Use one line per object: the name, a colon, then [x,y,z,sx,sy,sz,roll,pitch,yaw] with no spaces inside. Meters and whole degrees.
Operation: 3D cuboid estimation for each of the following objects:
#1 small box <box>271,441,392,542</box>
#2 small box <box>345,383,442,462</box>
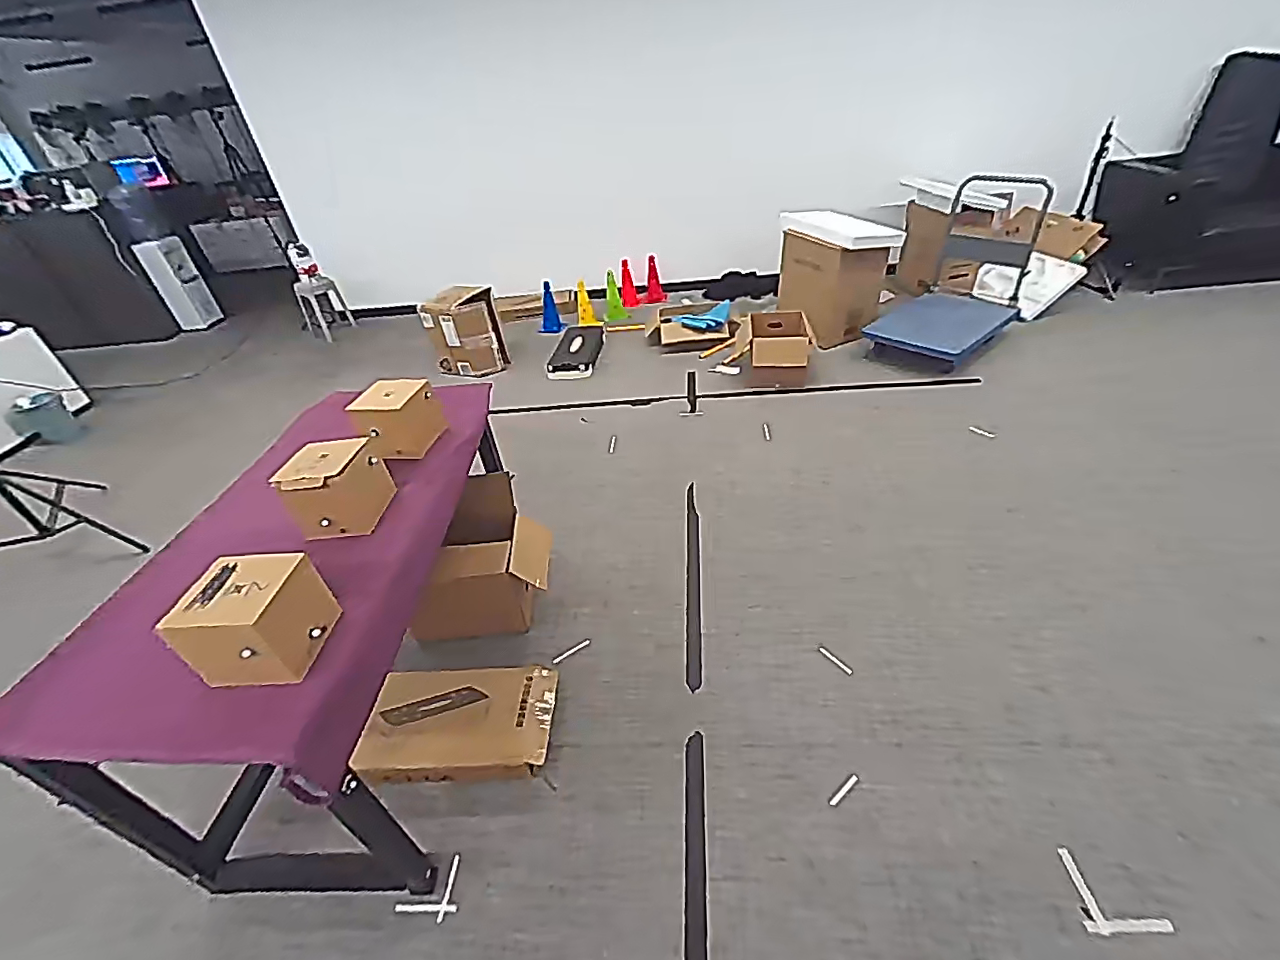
small box: [-0.725,0.027,1.299,0.168,0.176,0.179,-6,36,6]
small box: [-0.696,-0.163,1.553,0.168,0.176,0.179,0,37,10]
